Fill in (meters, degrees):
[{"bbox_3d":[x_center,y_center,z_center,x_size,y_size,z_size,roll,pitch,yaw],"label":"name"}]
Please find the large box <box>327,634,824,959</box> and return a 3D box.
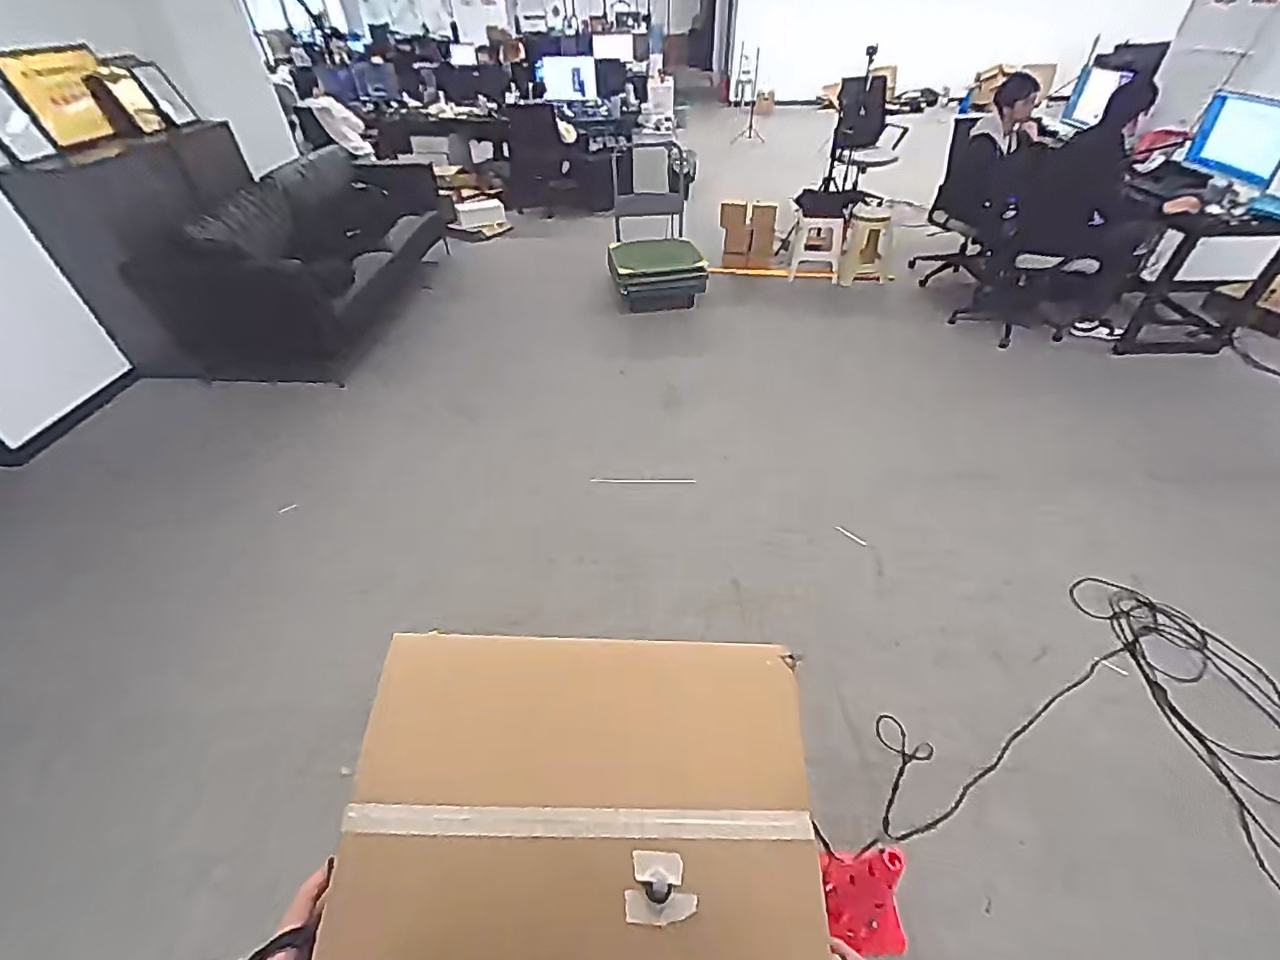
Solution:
[{"bbox_3d":[-0.057,0.372,0.611,0.408,0.320,0.320,2,60,-2],"label":"large box"}]
